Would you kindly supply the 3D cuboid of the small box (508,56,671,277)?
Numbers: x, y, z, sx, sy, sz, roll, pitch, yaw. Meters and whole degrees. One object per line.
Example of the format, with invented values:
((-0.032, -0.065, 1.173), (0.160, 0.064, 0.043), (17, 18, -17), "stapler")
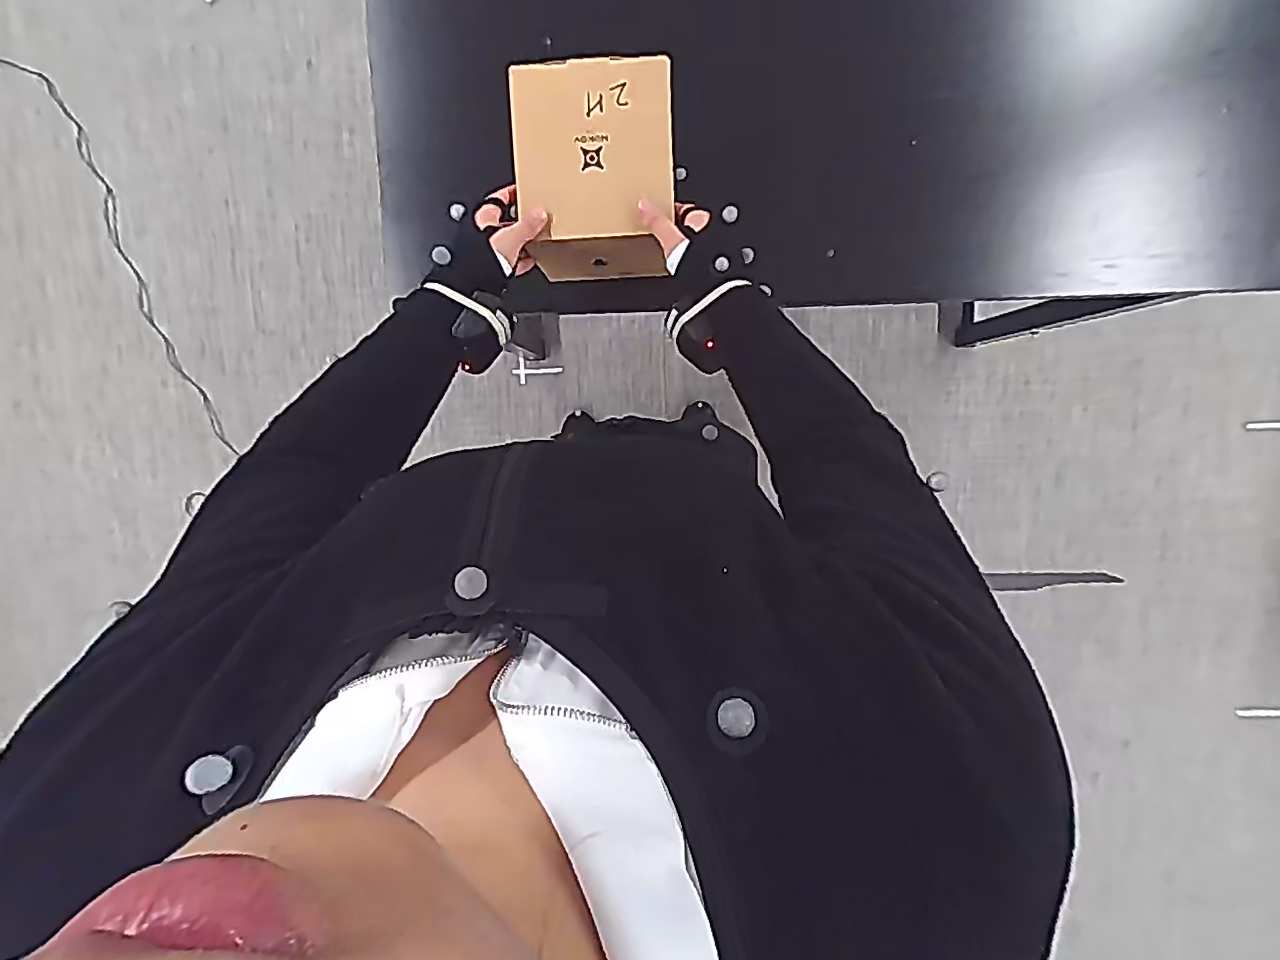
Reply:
((-0.048, -0.348, 0.637), (0.168, 0.176, 0.179), (-2, 95, 2), "small box")
